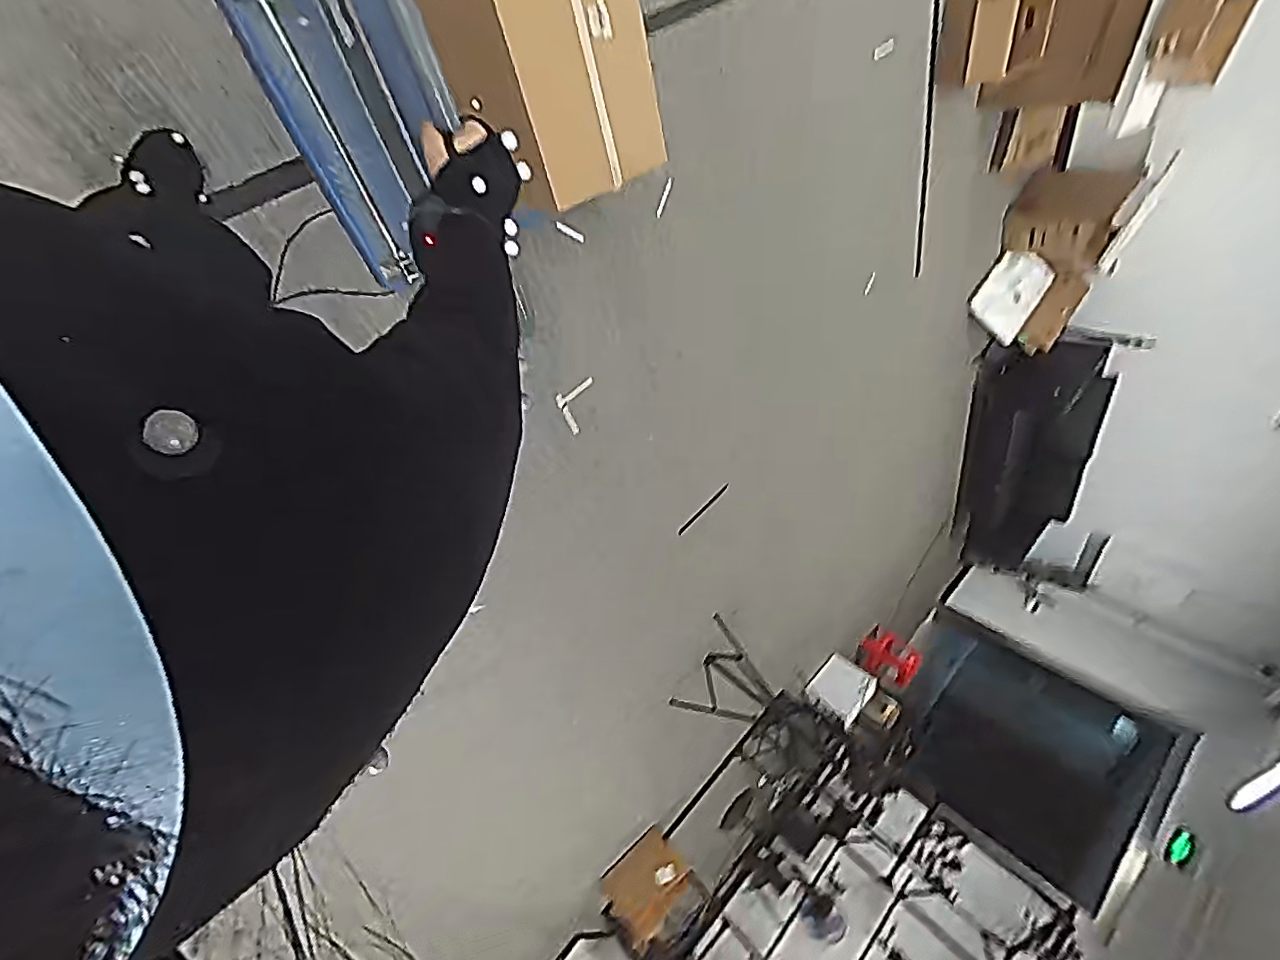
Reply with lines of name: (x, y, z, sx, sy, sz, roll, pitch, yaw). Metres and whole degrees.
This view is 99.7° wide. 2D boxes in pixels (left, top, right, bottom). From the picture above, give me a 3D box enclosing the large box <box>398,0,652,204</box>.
large box: (-0.226, -0.841, 1.122, 0.320, 0.320, 0.408, -39, 134, -24)
